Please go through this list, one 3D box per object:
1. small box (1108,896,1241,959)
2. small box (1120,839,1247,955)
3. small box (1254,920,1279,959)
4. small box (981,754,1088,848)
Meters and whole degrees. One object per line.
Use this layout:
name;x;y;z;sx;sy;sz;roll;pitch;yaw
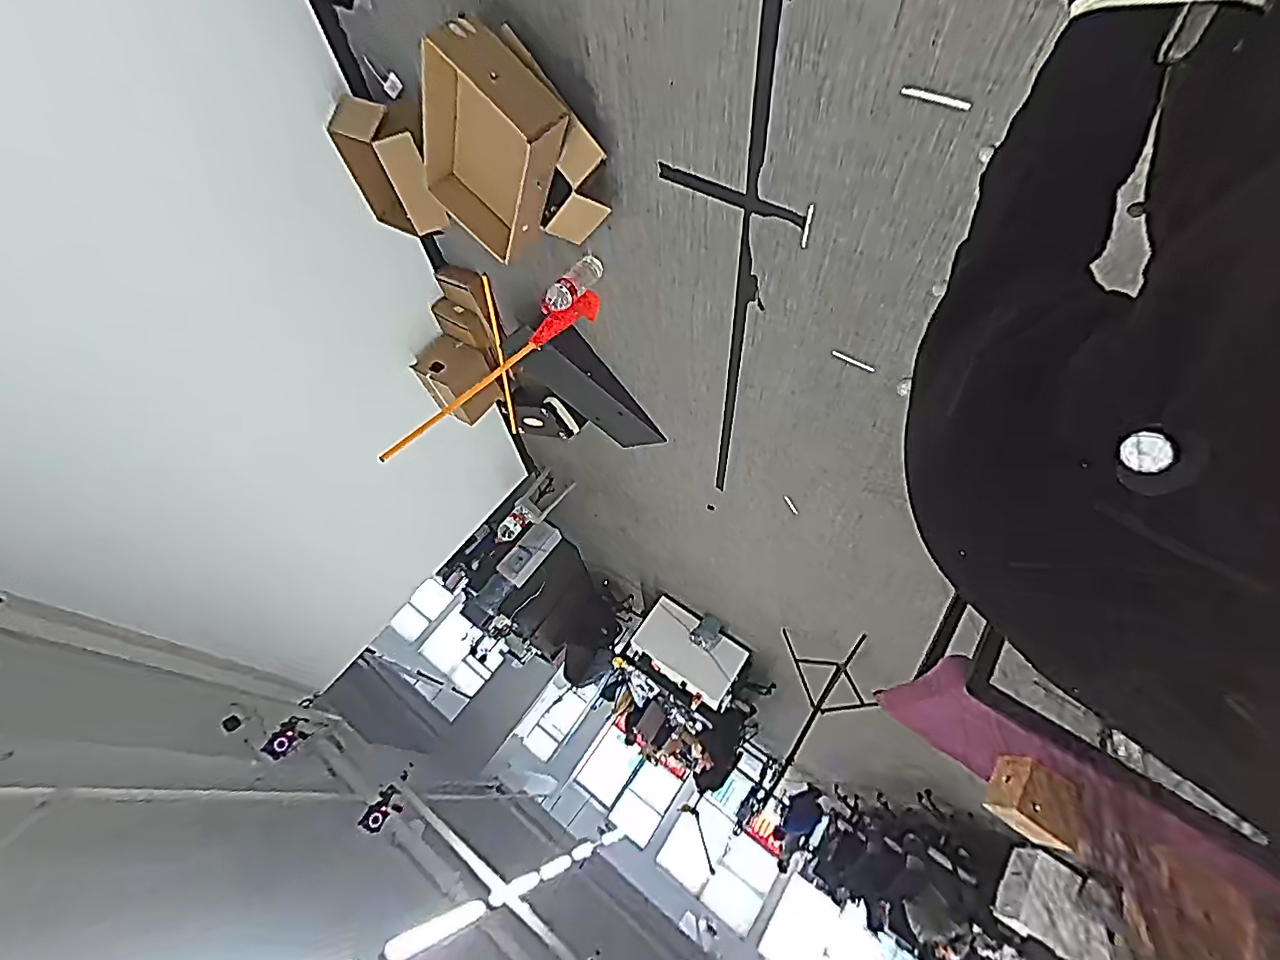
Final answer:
small box;1.383;1.233;1.399;0.179;0.176;0.168;32;156;20
small box;1.478;1.123;1.471;0.179;0.176;0.168;31;156;22
small box;1.716;1.262;1.365;0.168;0.176;0.179;29;156;23
small box;1.169;0.941;1.604;0.179;0.176;0.168;33;158;14
